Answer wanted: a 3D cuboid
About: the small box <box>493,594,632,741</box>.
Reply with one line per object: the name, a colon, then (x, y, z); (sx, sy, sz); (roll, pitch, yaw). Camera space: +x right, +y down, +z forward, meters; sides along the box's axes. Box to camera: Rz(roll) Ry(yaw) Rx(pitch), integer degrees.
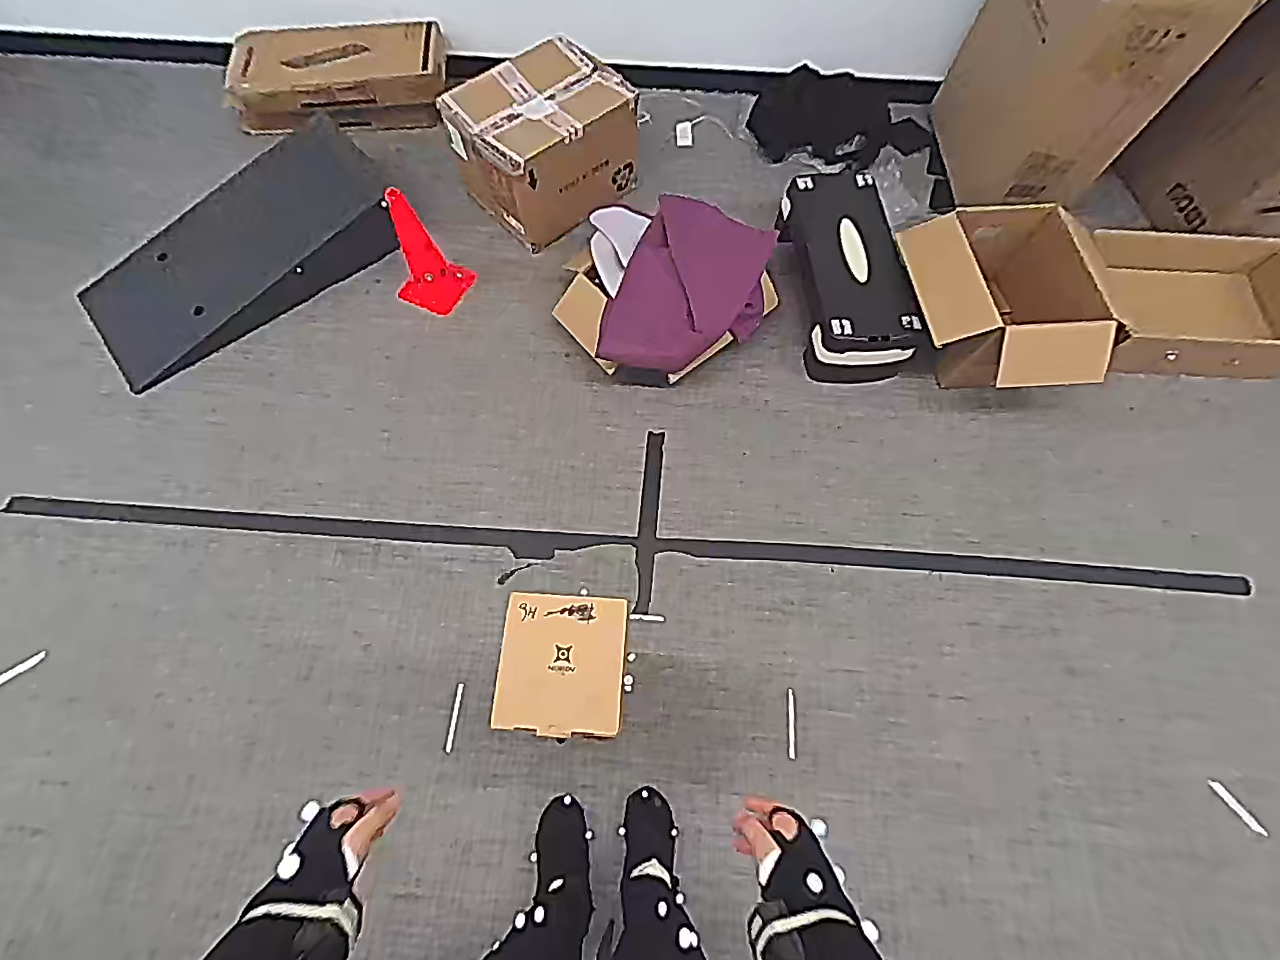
small box: (-0.100, 0.272, 0.787); (0.168, 0.176, 0.179); (3, 69, 1)
